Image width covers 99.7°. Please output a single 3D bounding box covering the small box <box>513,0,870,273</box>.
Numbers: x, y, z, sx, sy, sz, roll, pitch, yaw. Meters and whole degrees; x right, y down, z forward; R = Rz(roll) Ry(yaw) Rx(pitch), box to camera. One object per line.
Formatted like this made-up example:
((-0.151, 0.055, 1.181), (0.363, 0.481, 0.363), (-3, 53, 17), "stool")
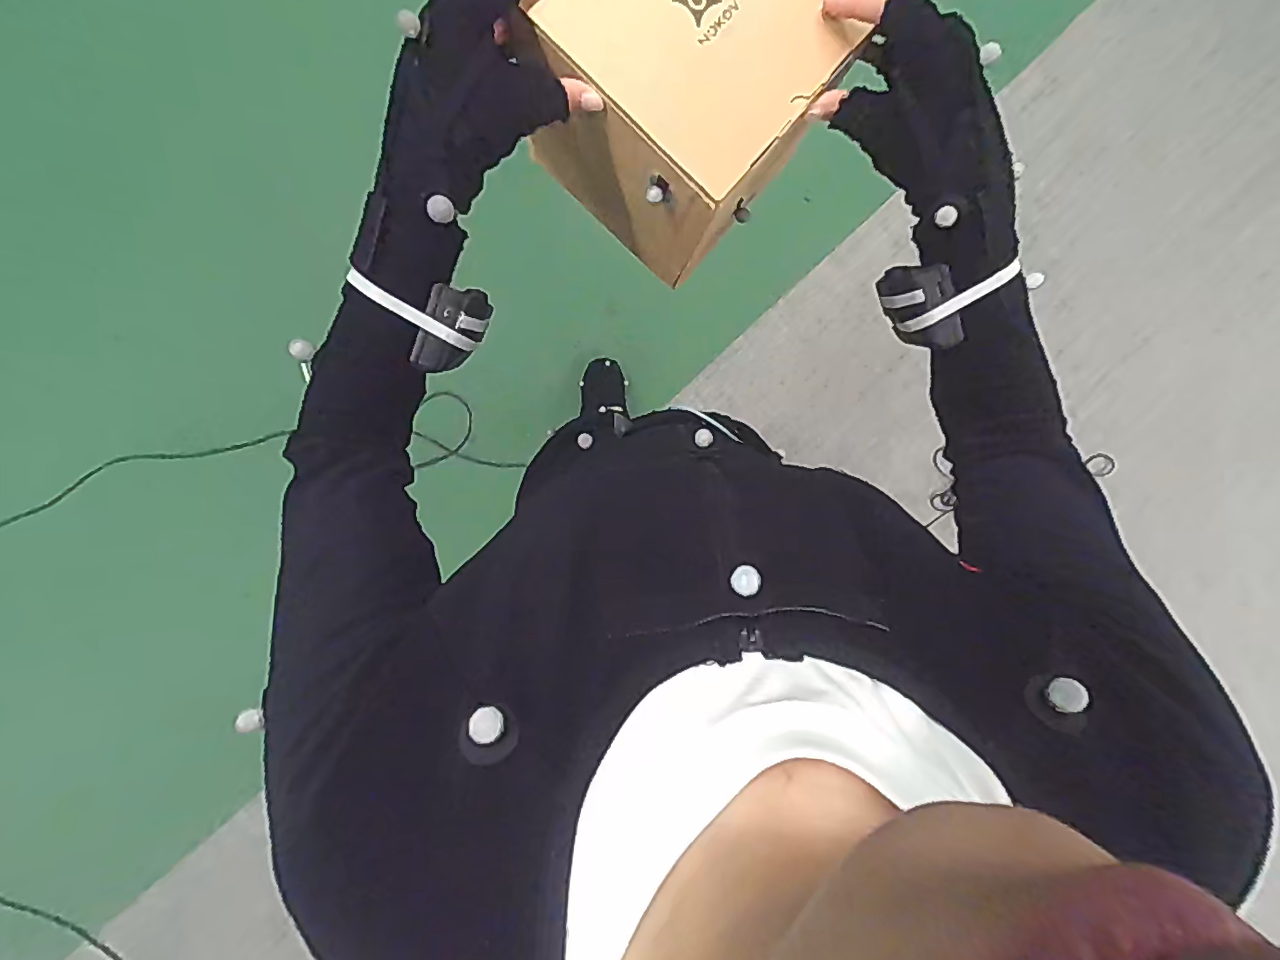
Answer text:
((0.026, -0.297, 0.420), (0.179, 0.176, 0.168), (42, 87, -7), "small box")
